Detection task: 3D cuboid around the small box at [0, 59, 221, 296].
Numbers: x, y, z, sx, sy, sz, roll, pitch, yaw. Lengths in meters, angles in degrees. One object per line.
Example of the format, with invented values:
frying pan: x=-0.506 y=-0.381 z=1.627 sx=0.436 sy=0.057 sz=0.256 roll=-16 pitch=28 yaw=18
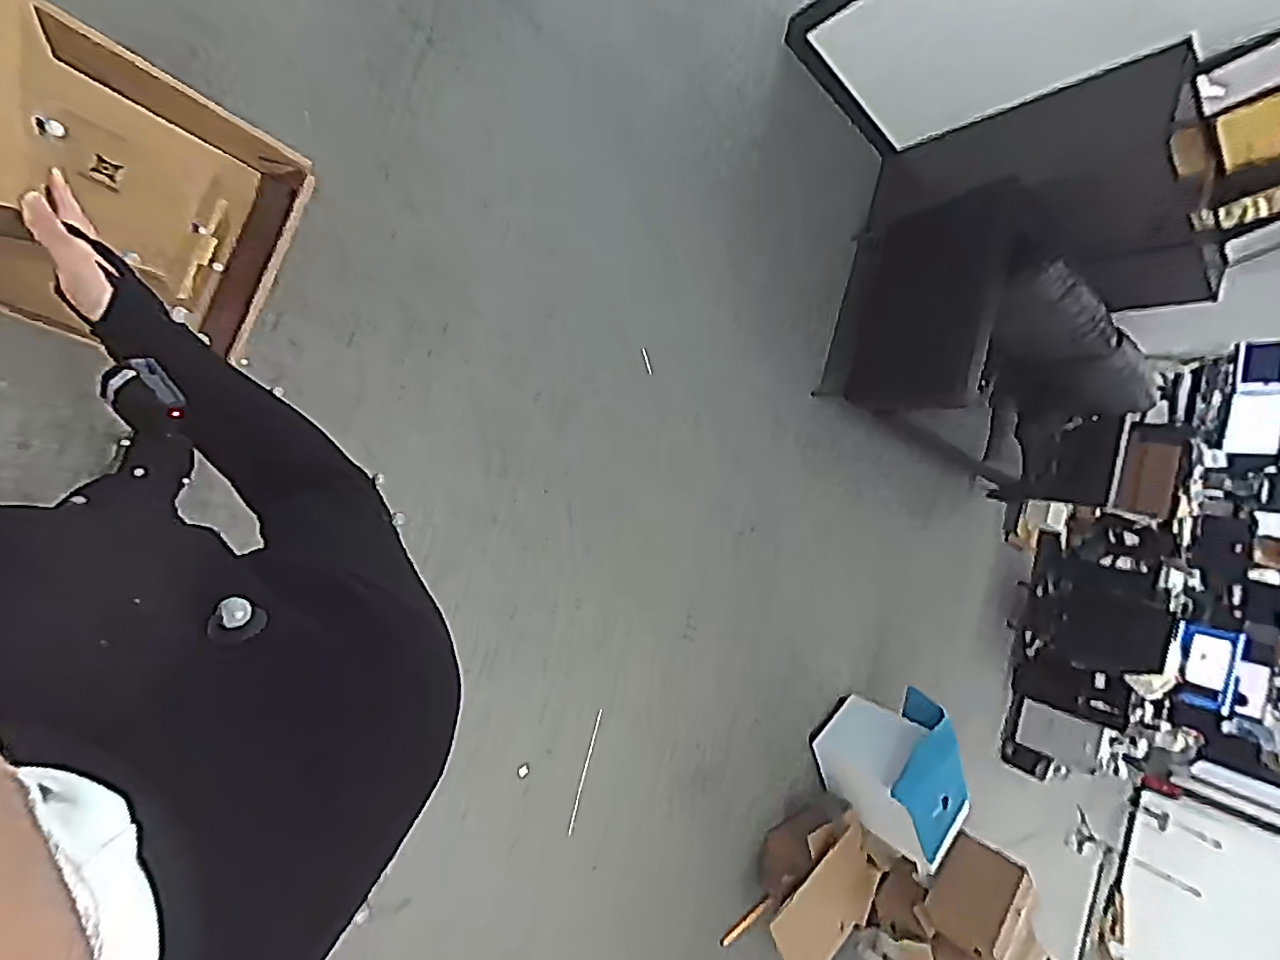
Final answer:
small box: x=-0.654 y=-0.354 z=0.679 sx=0.168 sy=0.176 sz=0.179 roll=24 pitch=82 yaw=-37
